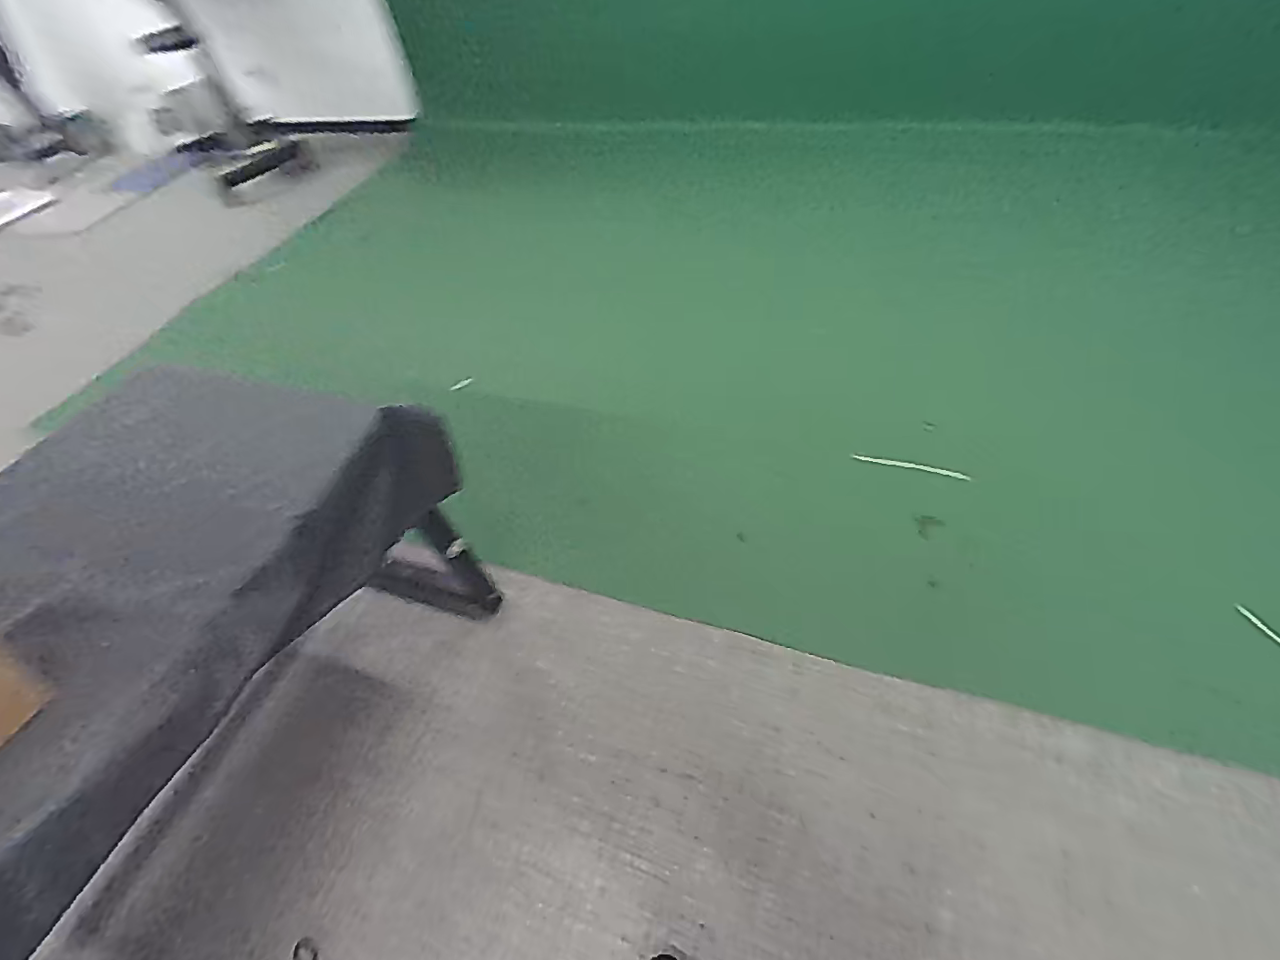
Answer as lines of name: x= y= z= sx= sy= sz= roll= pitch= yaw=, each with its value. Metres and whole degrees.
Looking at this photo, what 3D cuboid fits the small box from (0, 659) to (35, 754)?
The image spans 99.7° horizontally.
small box: x=-0.844 y=0.269 z=0.593 sx=0.168 sy=0.176 sz=0.179 roll=17 pitch=57 yaw=23
